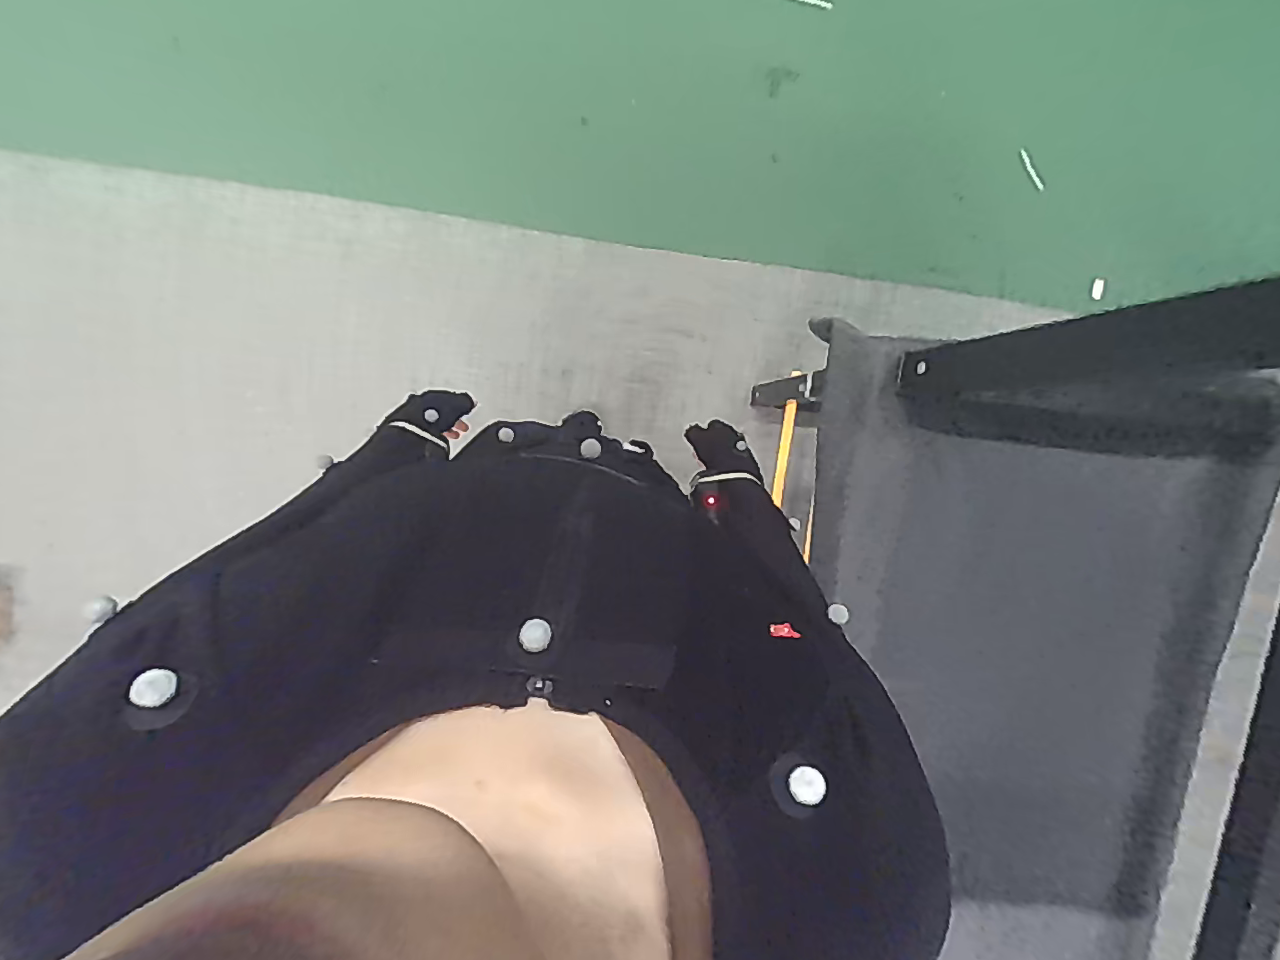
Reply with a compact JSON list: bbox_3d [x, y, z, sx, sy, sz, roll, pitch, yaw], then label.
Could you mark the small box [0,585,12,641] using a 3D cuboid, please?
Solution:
[{"bbox_3d":[-1.749,0.352,1.351,0.179,0.176,0.168,11,96,-4],"label":"small box"}]
